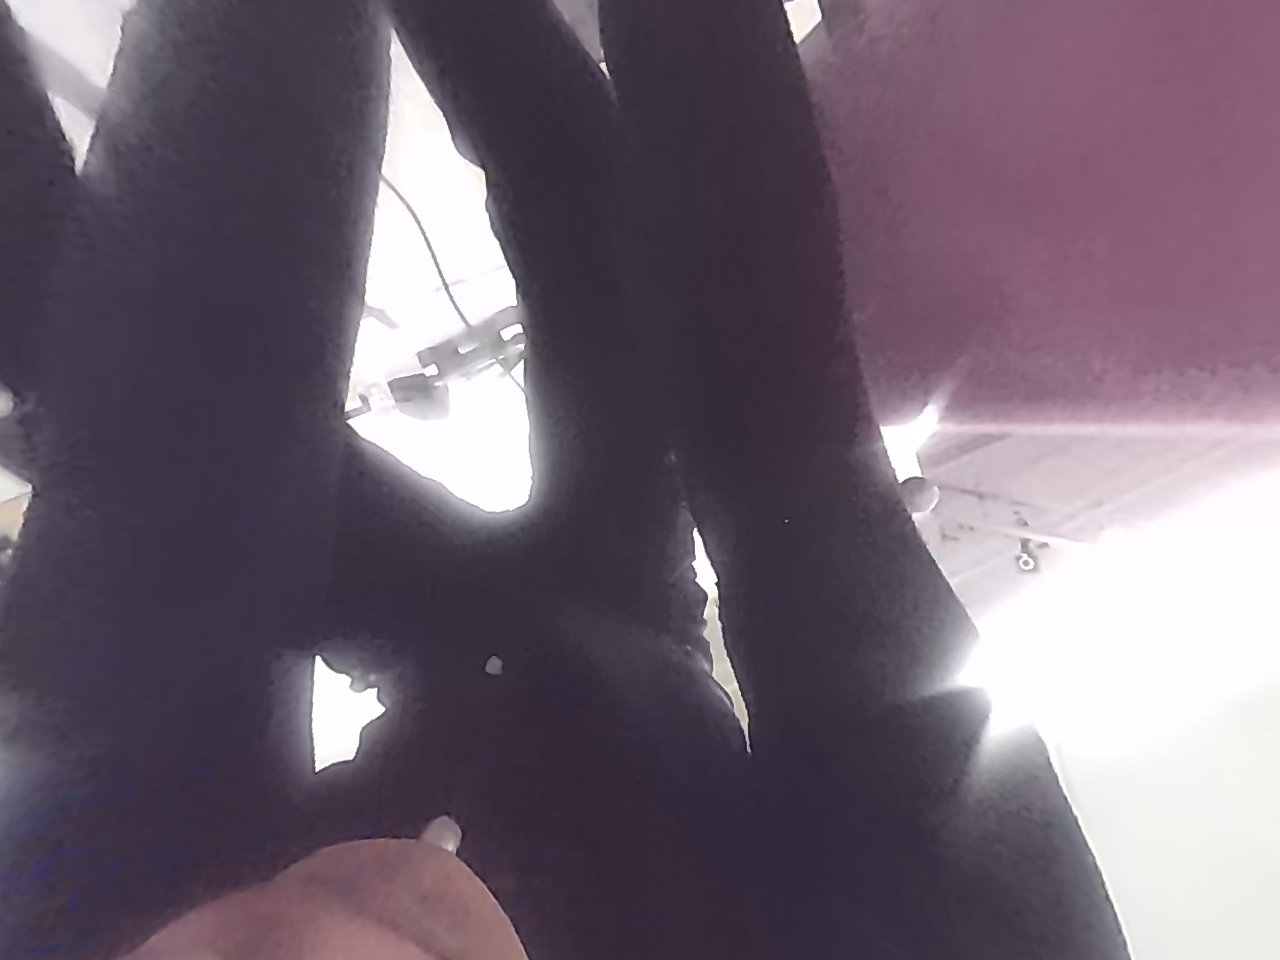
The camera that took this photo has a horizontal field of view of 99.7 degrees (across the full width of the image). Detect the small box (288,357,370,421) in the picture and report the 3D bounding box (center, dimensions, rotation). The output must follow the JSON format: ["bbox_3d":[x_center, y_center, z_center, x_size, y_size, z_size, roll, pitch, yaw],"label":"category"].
[{"bbox_3d":[-1.059,-0.312,1.848,0.168,0.176,0.179,-22,-172,-11],"label":"small box"}]
